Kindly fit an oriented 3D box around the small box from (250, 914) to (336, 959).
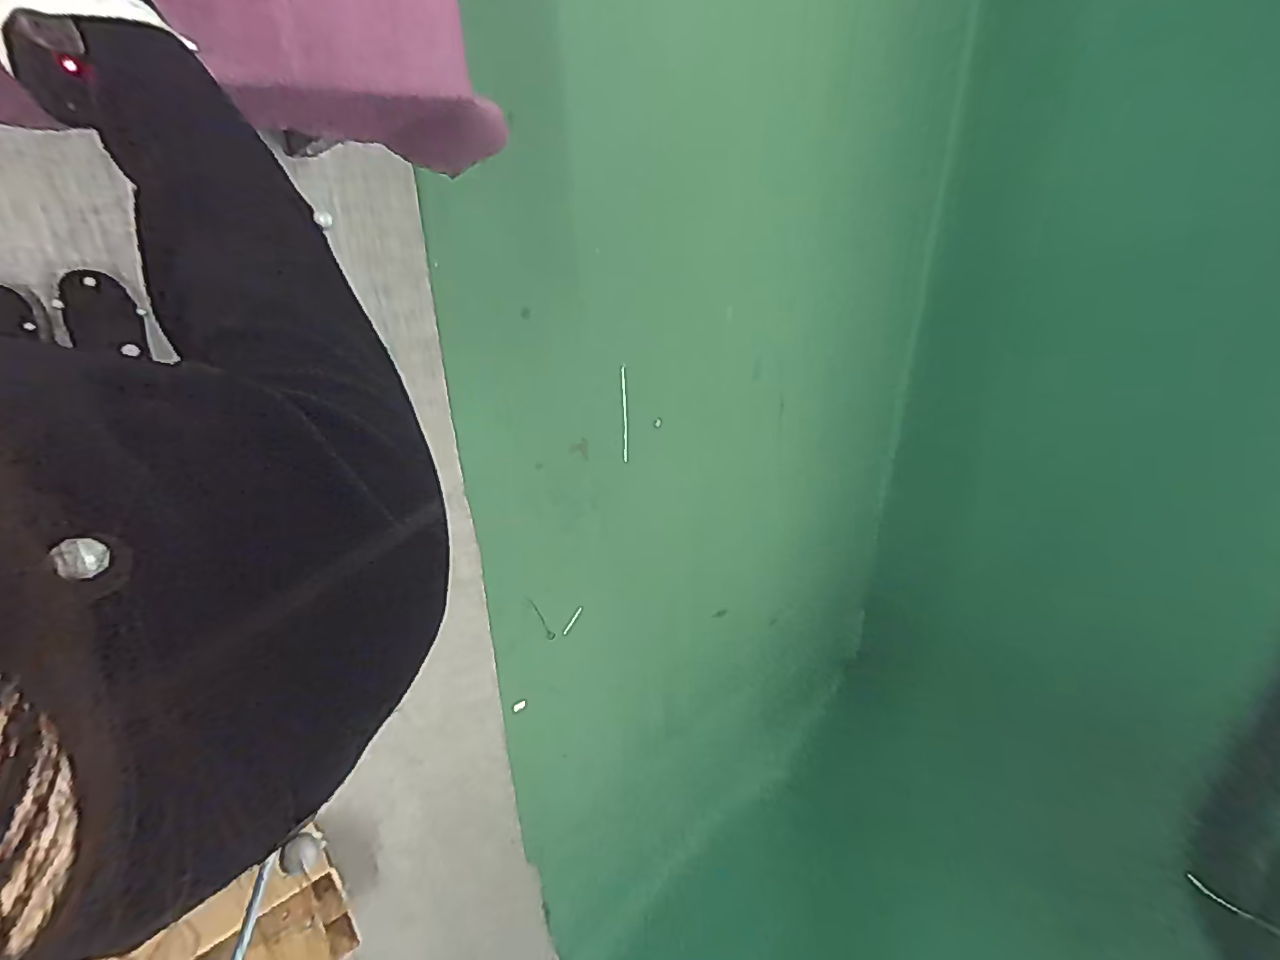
[{"bbox_3d":[-0.907,1.305,1.426,0.168,0.176,0.179,-13,117,-39],"label":"small box"}]
